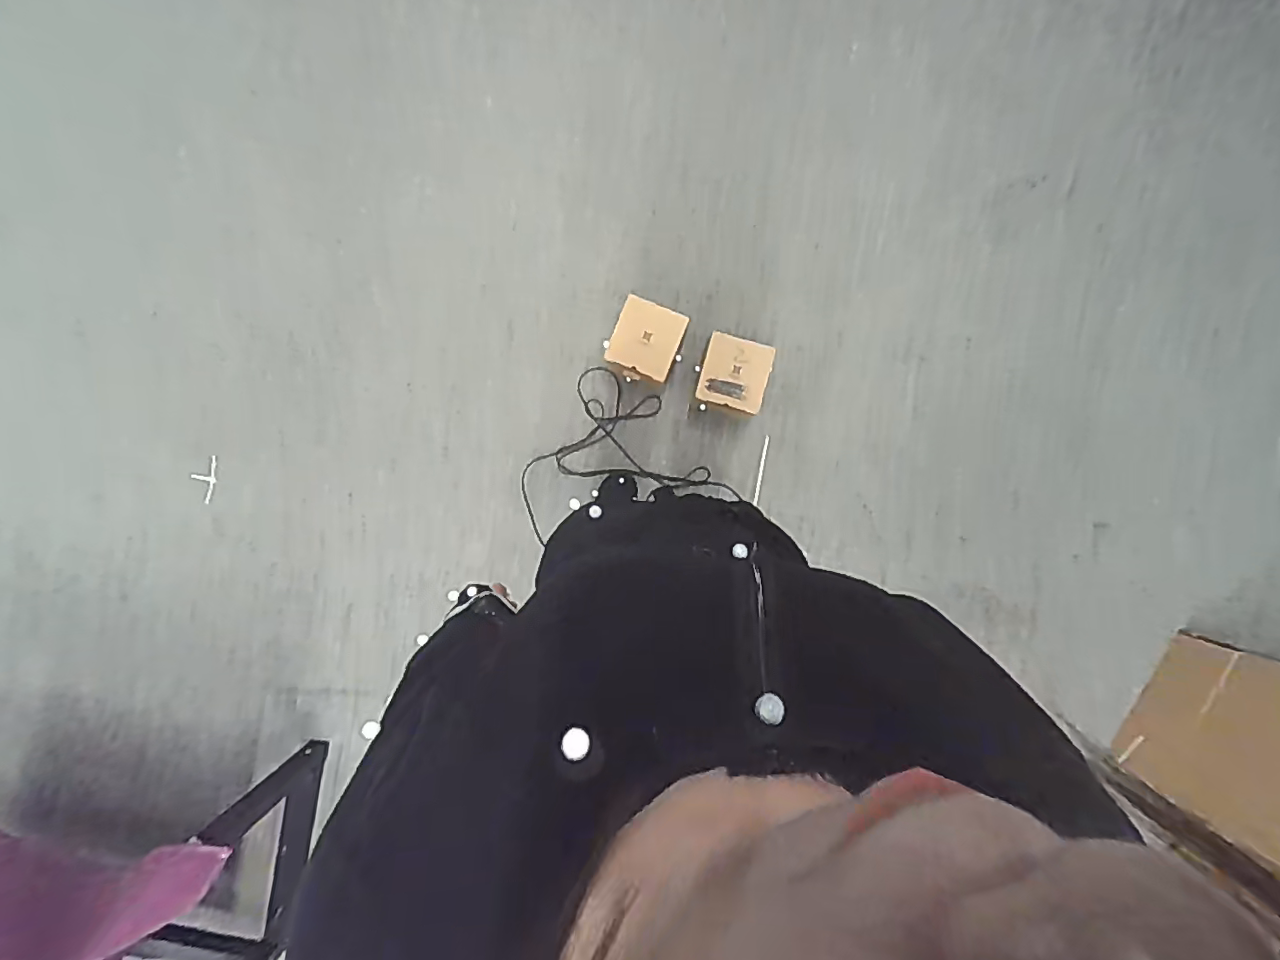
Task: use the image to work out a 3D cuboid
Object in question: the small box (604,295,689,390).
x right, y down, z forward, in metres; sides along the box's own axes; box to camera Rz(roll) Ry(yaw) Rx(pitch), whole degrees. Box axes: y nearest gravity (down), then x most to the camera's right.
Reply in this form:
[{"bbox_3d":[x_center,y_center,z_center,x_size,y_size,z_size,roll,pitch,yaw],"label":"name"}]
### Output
[{"bbox_3d":[0.015,-0.354,1.425,0.168,0.176,0.179,23,92,0],"label":"small box"}]
